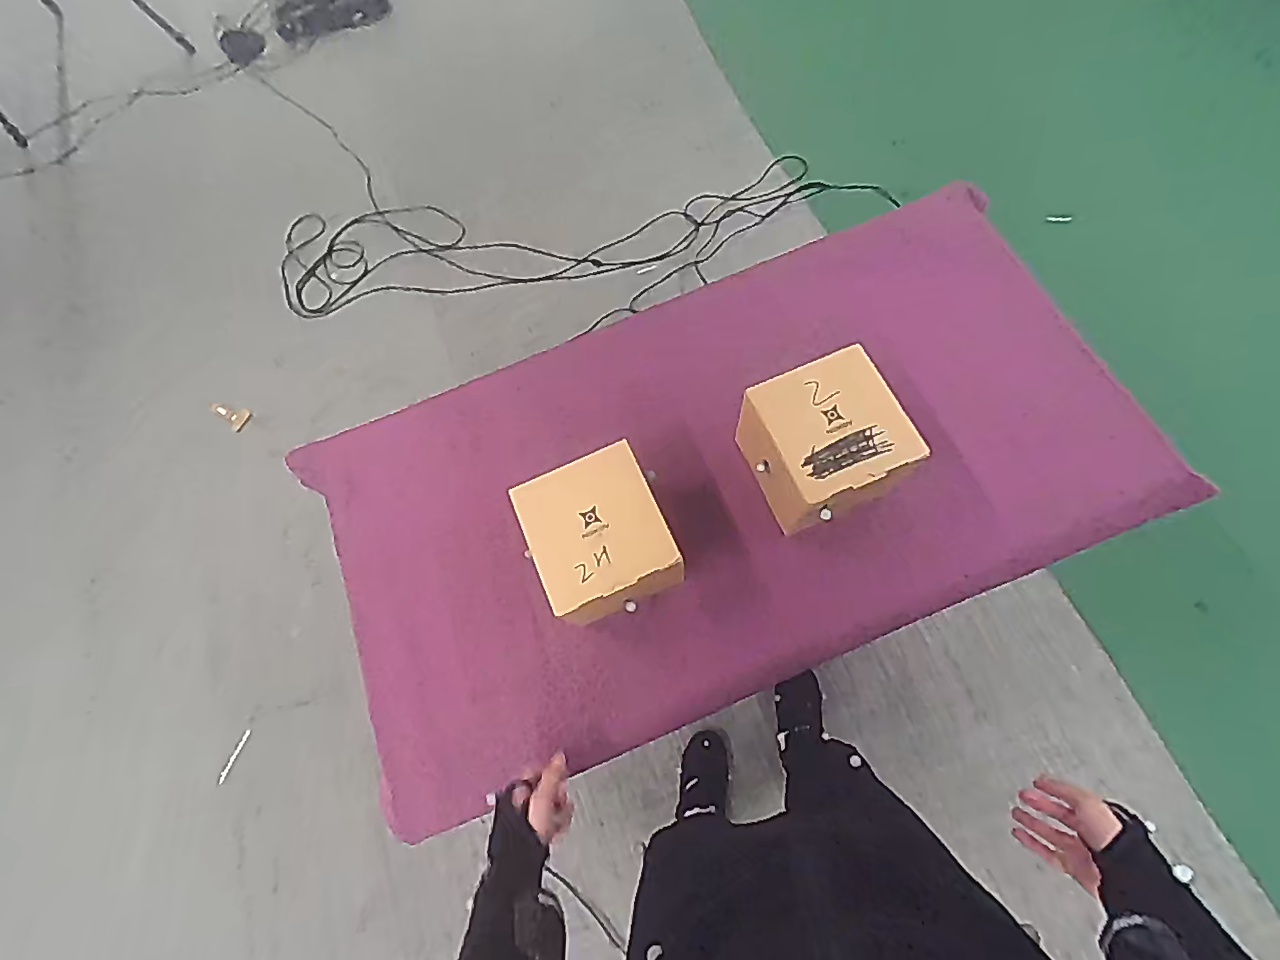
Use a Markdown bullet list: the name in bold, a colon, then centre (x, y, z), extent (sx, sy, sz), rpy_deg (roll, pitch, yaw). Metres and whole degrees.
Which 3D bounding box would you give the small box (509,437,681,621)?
- **small box**: centre (-0.053, 0.075, 0.727), extent (0.168, 0.176, 0.179), rpy_deg (-23, 71, -3)
